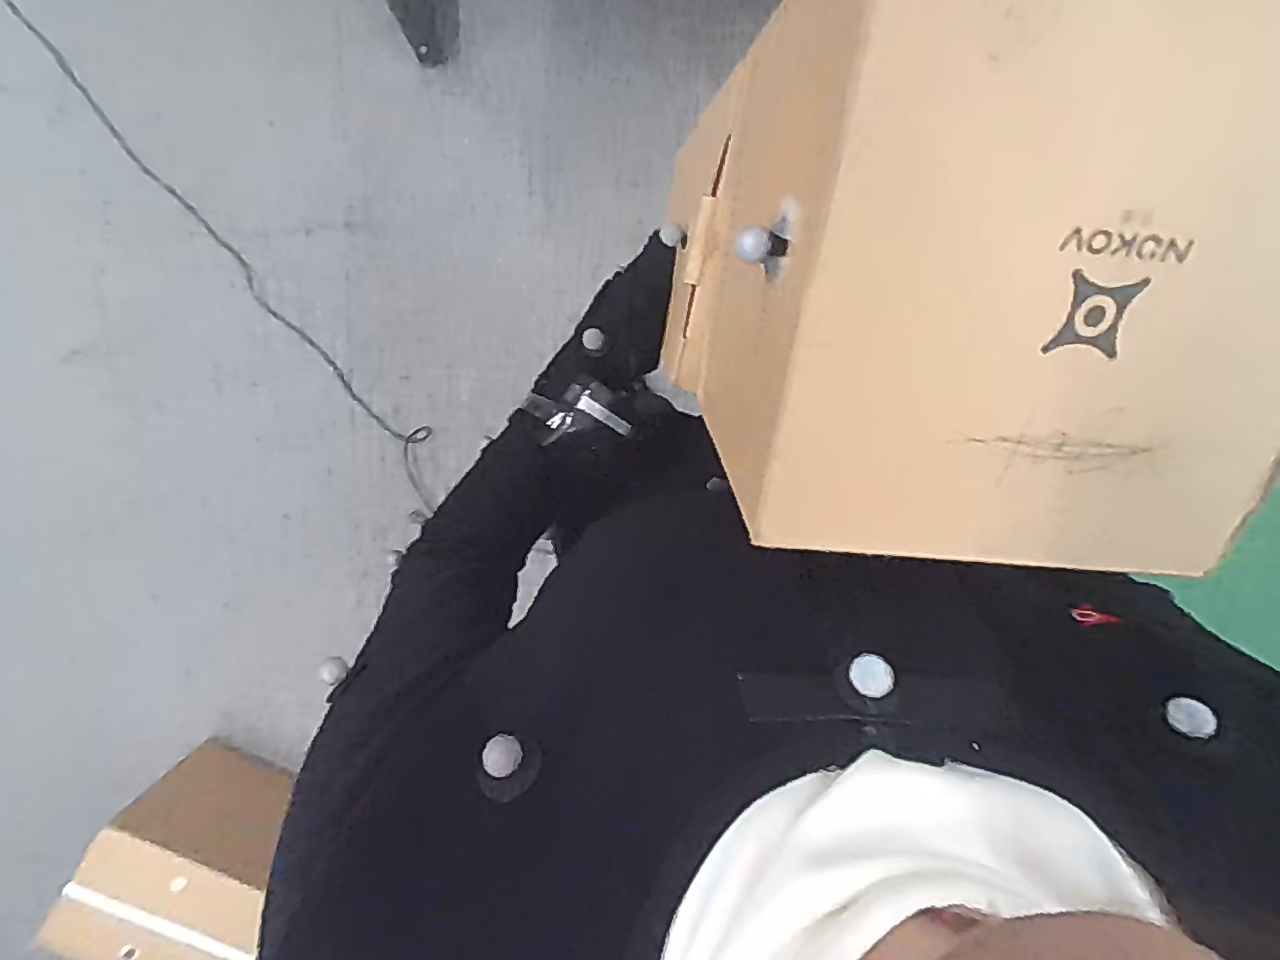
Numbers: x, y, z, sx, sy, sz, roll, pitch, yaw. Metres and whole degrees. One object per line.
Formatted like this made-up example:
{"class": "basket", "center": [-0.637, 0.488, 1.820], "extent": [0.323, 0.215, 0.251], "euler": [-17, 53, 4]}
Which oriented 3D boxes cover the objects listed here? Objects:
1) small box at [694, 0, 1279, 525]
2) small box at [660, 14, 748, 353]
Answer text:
{"class": "small box", "center": [0.120, -0.103, 0.219], "extent": [0.168, 0.176, 0.179], "euler": [5, 116, -3]}
{"class": "small box", "center": [0.113, -0.172, 0.370], "extent": [0.179, 0.176, 0.168], "euler": [6, 114, -5]}
